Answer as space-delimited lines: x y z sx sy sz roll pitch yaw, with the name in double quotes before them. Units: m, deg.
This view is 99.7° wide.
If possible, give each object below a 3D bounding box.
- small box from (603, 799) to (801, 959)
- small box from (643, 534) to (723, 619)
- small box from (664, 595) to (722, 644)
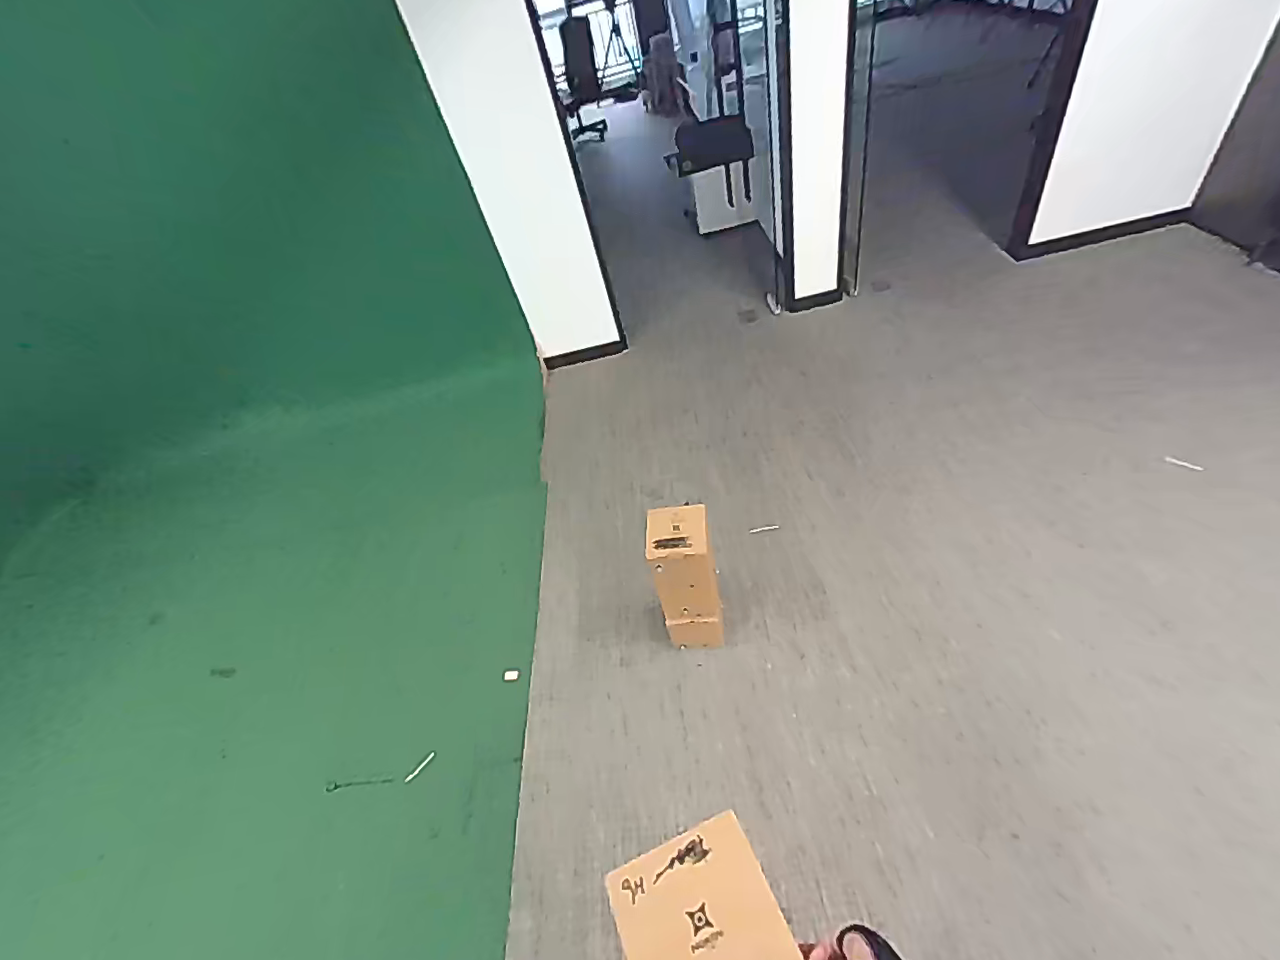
"small box" 0.074 0.509 0.618 0.168 0.176 0.179 -21 45 -8
"small box" 0.139 0.301 1.665 0.179 0.176 0.168 19 56 31
"small box" 0.172 0.420 1.760 0.168 0.176 0.179 -7 45 9
